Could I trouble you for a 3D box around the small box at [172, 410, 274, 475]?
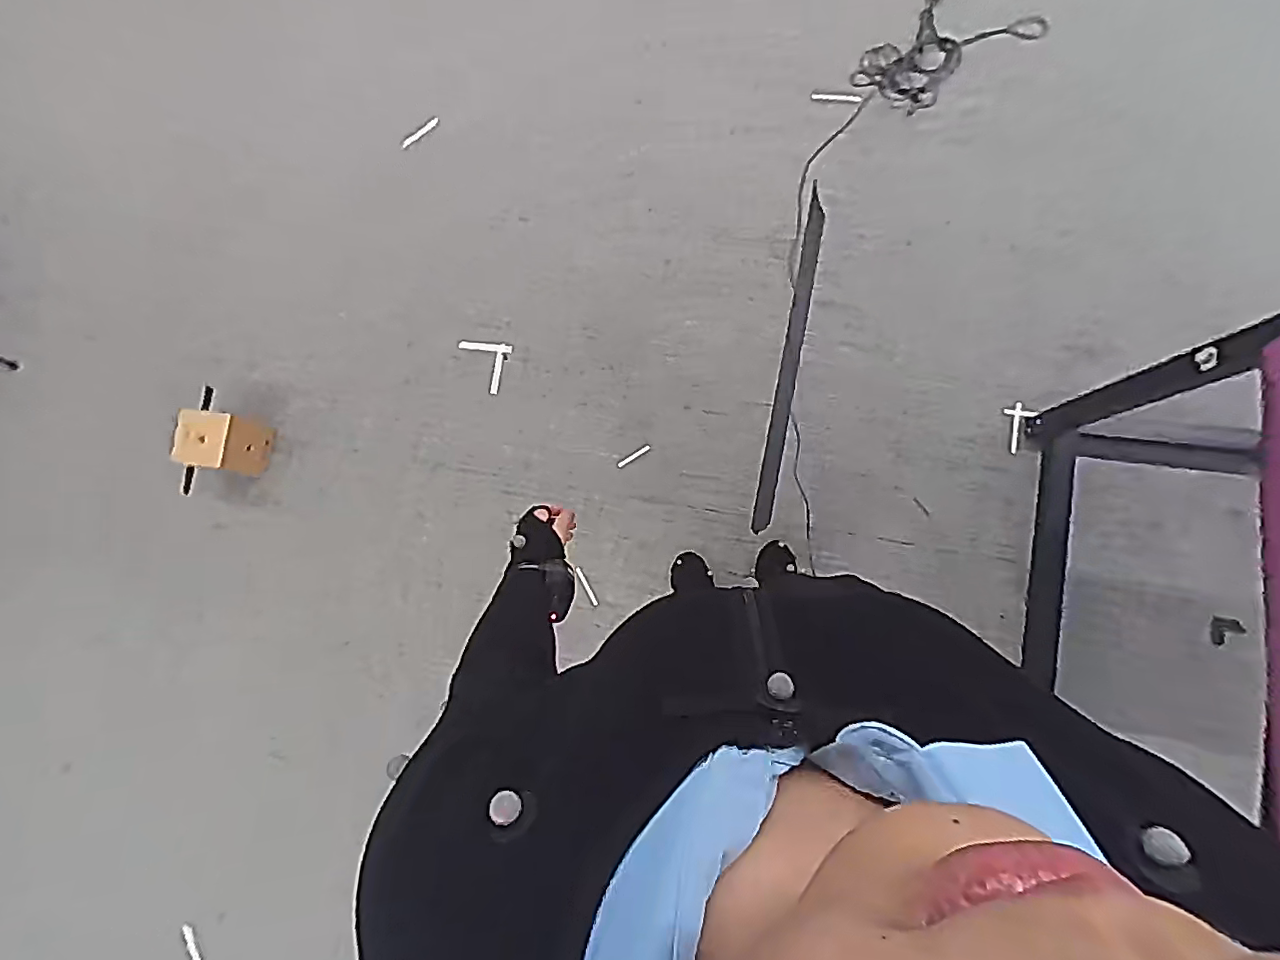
[{"bbox_3d":[-1.281,-0.112,1.673,0.179,0.176,0.168,7,85,10],"label":"small box"}]
